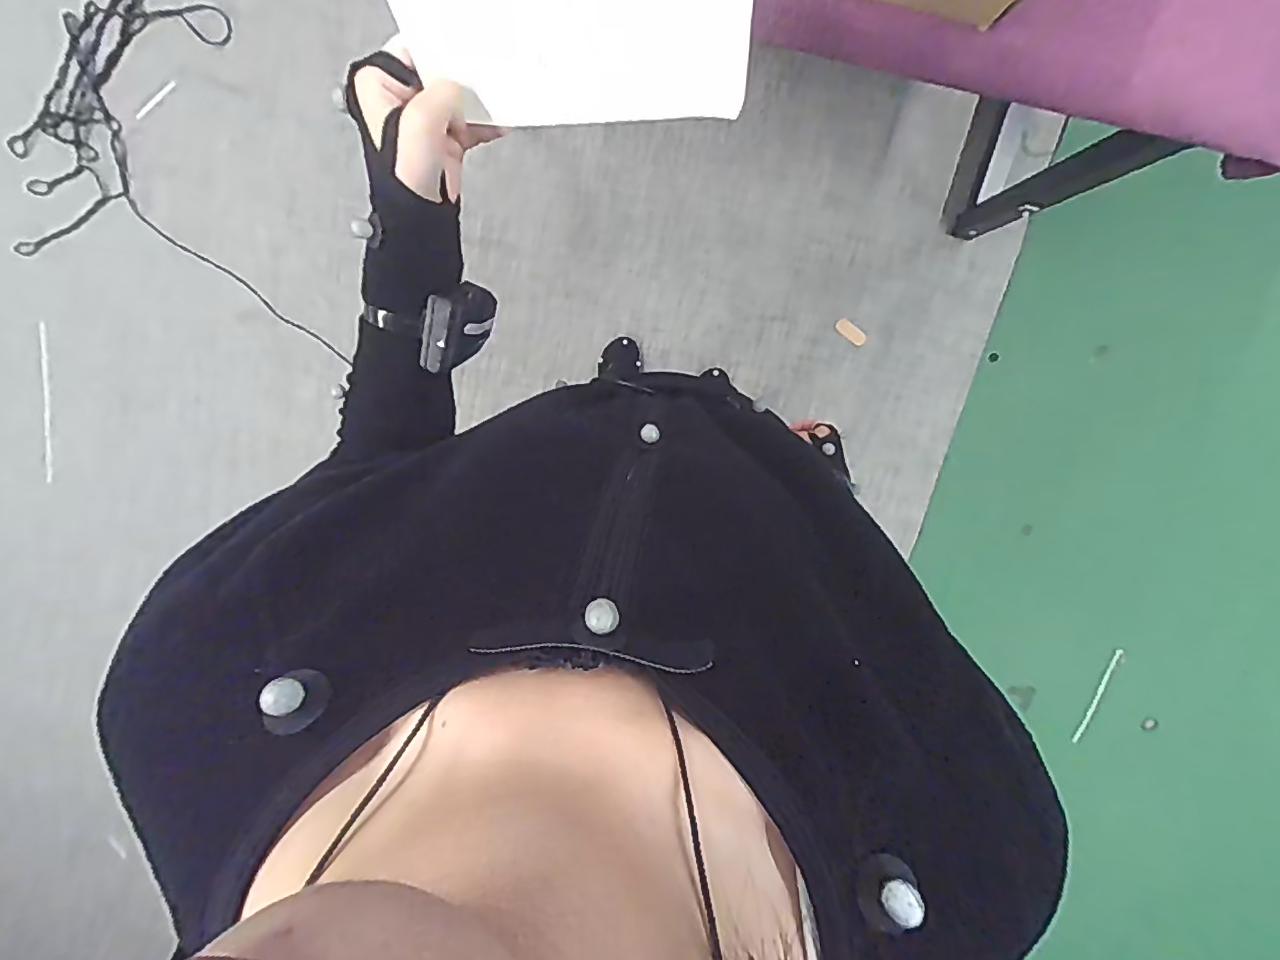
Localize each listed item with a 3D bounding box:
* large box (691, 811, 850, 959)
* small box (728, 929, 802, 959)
[{"bbox_3d":[0.362,1.228,1.597,0.408,0.320,0.320,-1,103,2],"label":"large box"},{"bbox_3d":[0.320,1.279,1.359,0.179,0.176,0.168,3,100,3],"label":"small box"}]
